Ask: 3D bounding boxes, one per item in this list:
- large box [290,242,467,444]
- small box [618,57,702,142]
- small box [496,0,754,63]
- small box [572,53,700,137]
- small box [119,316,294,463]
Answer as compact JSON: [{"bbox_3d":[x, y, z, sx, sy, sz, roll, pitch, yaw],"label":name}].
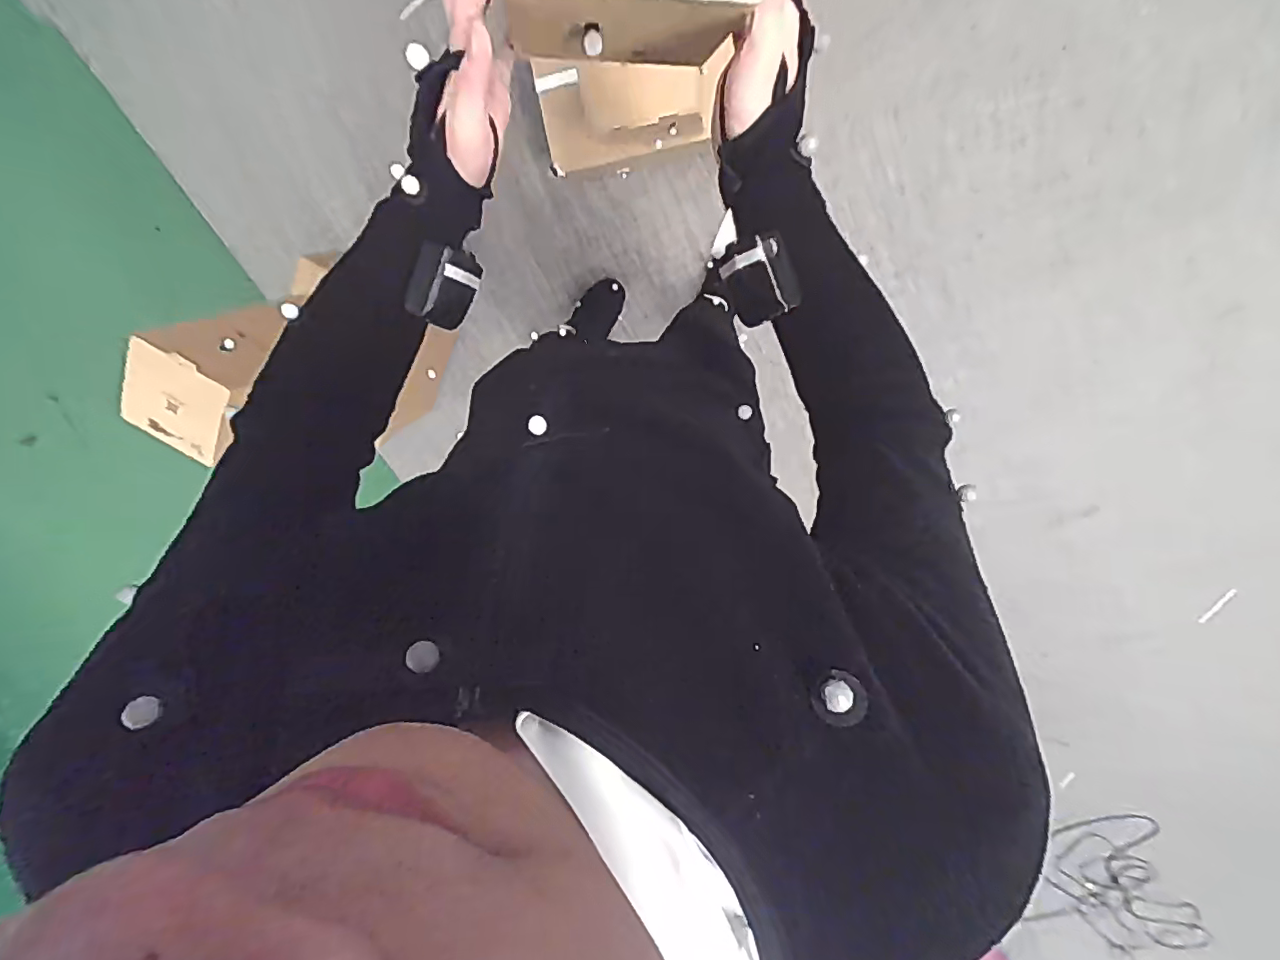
[{"bbox_3d":[-0.733,-0.386,1.503,0.320,0.320,0.408,29,119,-5],"label":"large box"},{"bbox_3d":[0.019,-0.710,0.944,0.168,0.176,0.179,-4,118,11],"label":"small box"},{"bbox_3d":[-0.014,-0.404,0.360,0.168,0.176,0.179,-2,116,-7],"label":"small box"},{"bbox_3d":[-0.003,-0.628,0.805,0.168,0.176,0.179,-6,117,11],"label":"small box"},{"bbox_3d":[-0.762,-0.169,0.968,0.168,0.176,0.179,33,116,-9],"label":"small box"}]
